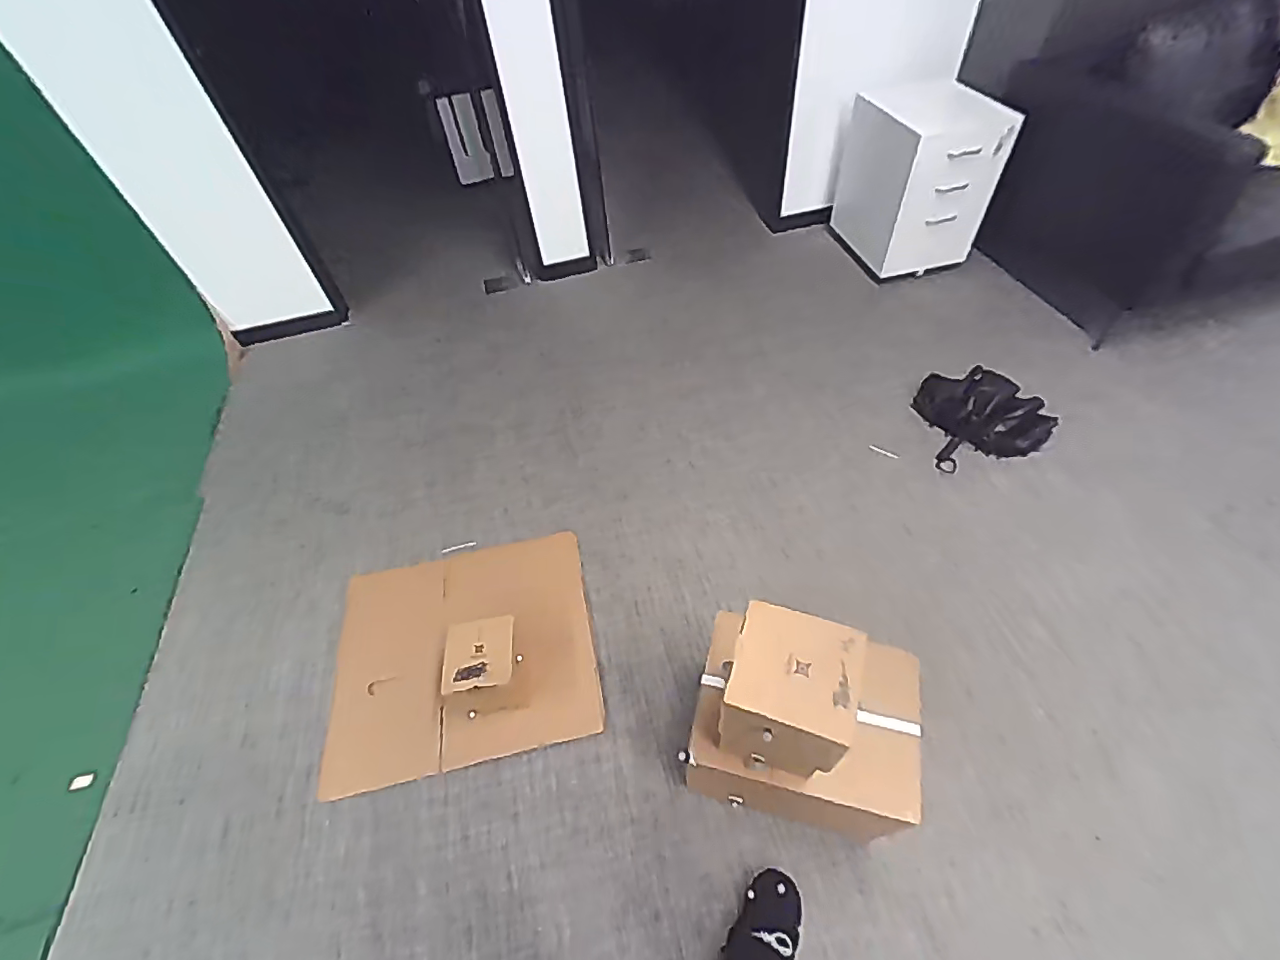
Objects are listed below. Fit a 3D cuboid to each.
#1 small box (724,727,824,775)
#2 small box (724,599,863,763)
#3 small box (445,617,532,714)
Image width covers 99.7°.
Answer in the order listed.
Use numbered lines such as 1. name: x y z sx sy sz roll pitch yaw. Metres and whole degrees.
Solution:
1. small box: 0.246 0.399 0.965 0.168 0.176 0.179 10 55 15
2. small box: 0.229 0.310 0.830 0.179 0.176 0.168 11 52 15
3. small box: -0.369 0.469 1.351 0.168 0.176 0.179 -9 49 0
